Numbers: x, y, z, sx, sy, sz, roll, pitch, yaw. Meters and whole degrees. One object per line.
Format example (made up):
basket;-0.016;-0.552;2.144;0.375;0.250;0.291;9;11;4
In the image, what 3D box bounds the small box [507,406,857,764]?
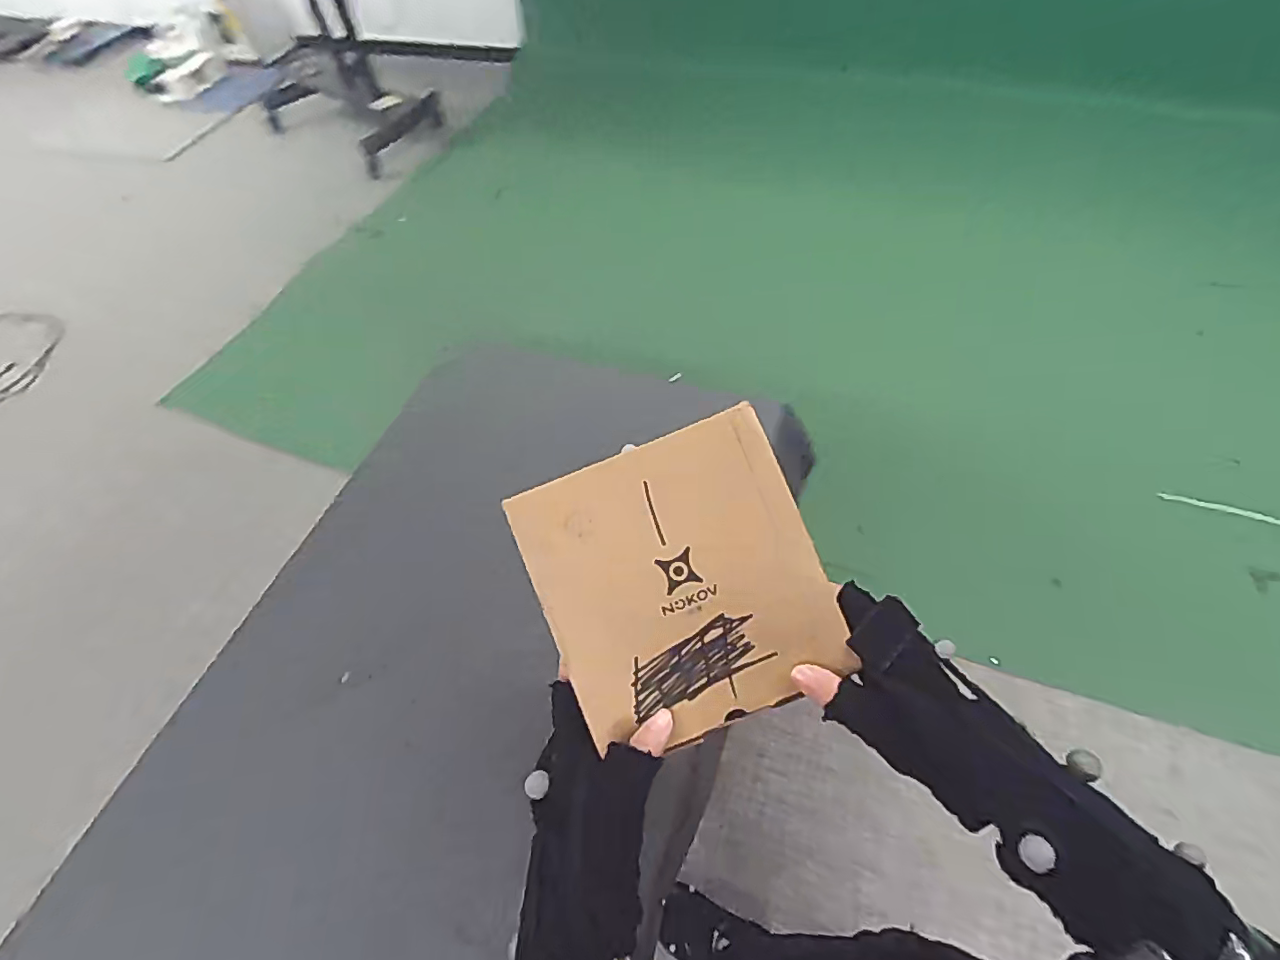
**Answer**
small box;0.026;0.065;0.410;0.168;0.176;0.179;-25;88;-1
